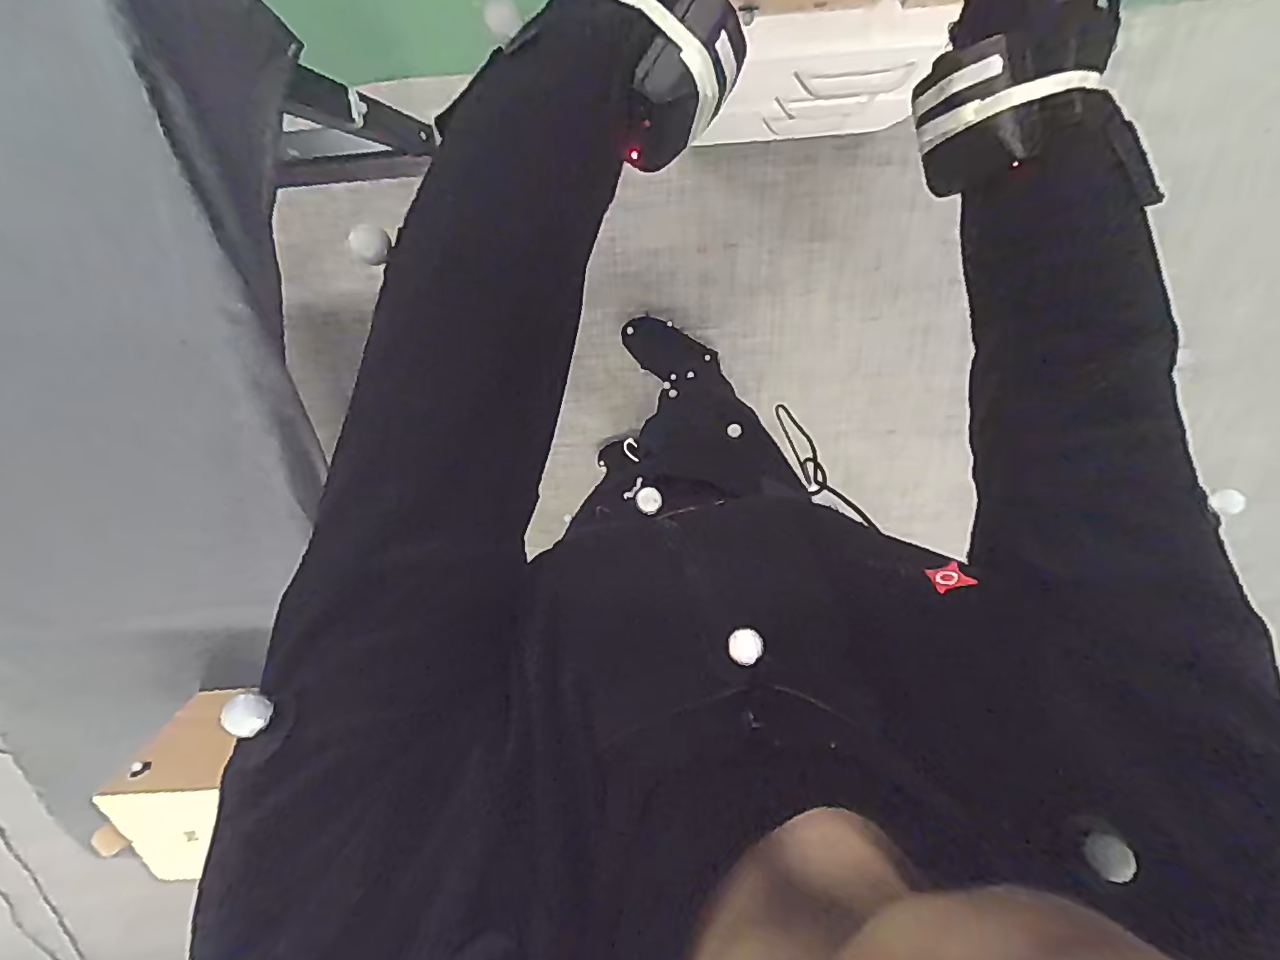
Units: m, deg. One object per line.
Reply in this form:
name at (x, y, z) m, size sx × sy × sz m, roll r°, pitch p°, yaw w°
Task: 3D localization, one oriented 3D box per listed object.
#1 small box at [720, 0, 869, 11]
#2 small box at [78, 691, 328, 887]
small box at (0.144, -0.516, 0.437) m, size 0.168 × 0.176 × 0.179 m, roll -2°, pitch 112°, yaw 3°
small box at (-0.559, 0.406, 0.728) m, size 0.179 × 0.176 × 0.168 m, roll -7°, pitch 113°, yaw 6°
